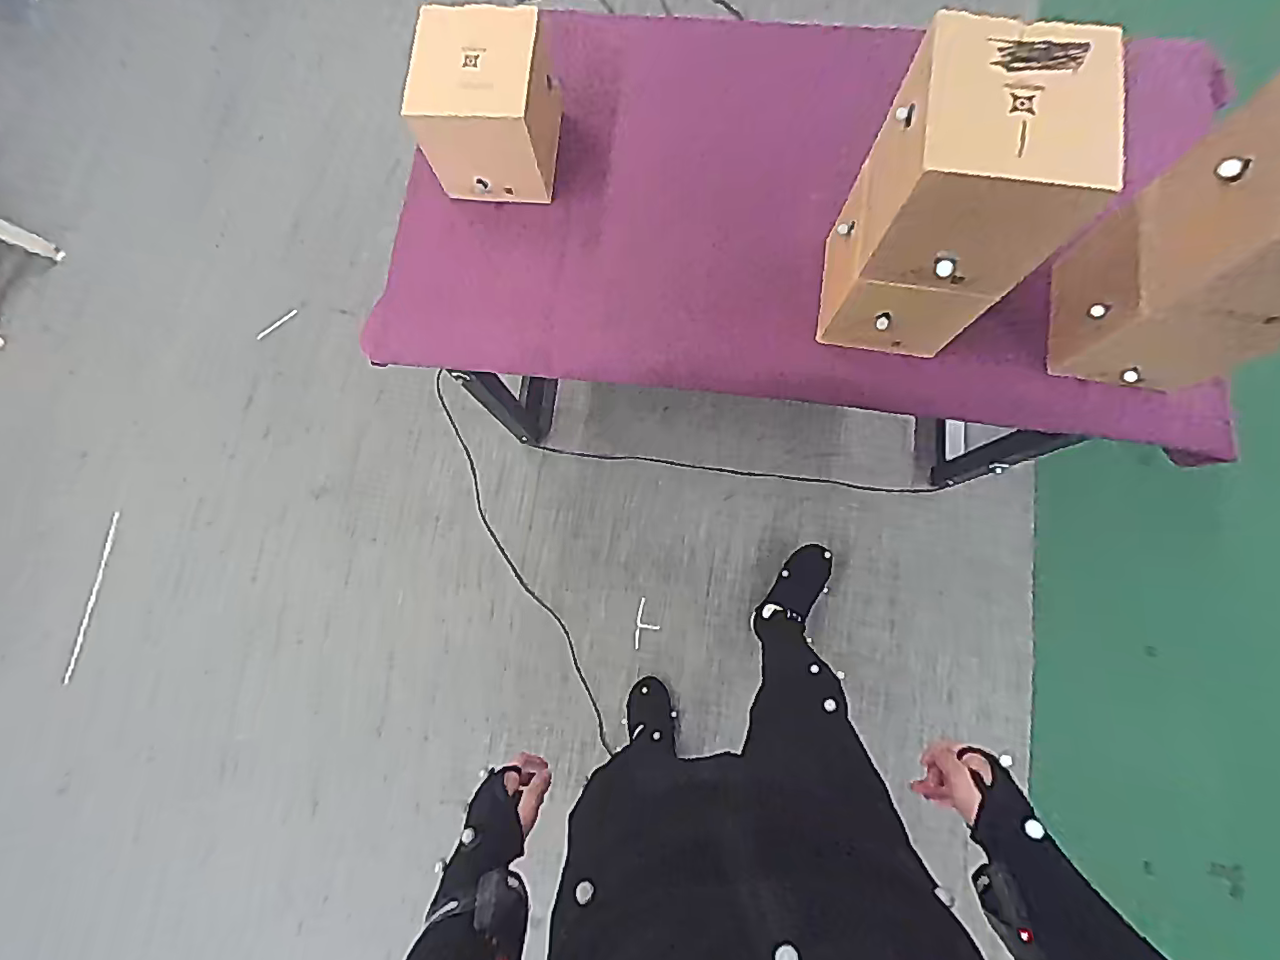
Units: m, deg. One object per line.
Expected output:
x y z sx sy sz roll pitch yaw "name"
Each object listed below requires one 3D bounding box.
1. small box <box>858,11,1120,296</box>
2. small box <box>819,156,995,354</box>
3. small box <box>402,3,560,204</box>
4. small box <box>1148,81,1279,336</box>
0.339 -0.320 0.556 0.168 0.176 0.179 10 79 5 "small box"
0.345 -0.285 0.716 0.168 0.176 0.179 9 78 5 "small box"
-0.218 -0.541 0.791 0.168 0.176 0.179 4 80 4 "small box"
0.650 -0.268 0.527 0.168 0.176 0.179 10 79 6 "small box"
